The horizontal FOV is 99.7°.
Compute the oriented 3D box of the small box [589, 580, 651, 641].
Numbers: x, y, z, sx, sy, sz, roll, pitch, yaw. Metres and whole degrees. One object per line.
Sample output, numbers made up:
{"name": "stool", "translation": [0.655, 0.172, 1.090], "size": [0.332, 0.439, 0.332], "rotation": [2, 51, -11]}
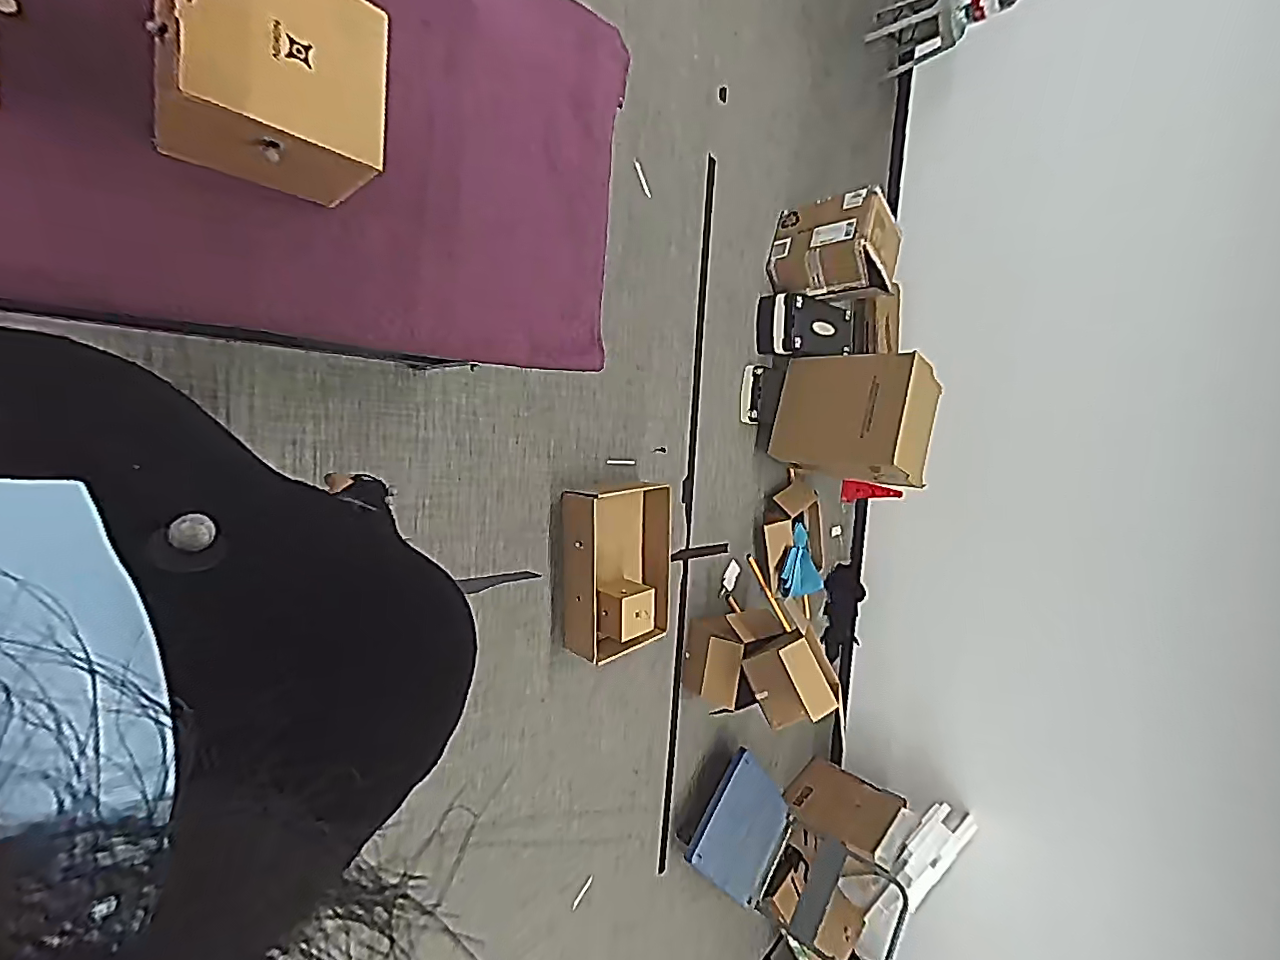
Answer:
{"name": "small box", "translation": [-0.077, 0.487, 2.044], "size": [0.179, 0.176, 0.168], "rotation": [-6, 101, -47]}

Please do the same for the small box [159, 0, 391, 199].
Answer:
{"name": "small box", "translation": [-0.394, -0.428, 0.584], "size": [0.179, 0.176, 0.168], "rotation": [0, 96, -45]}
